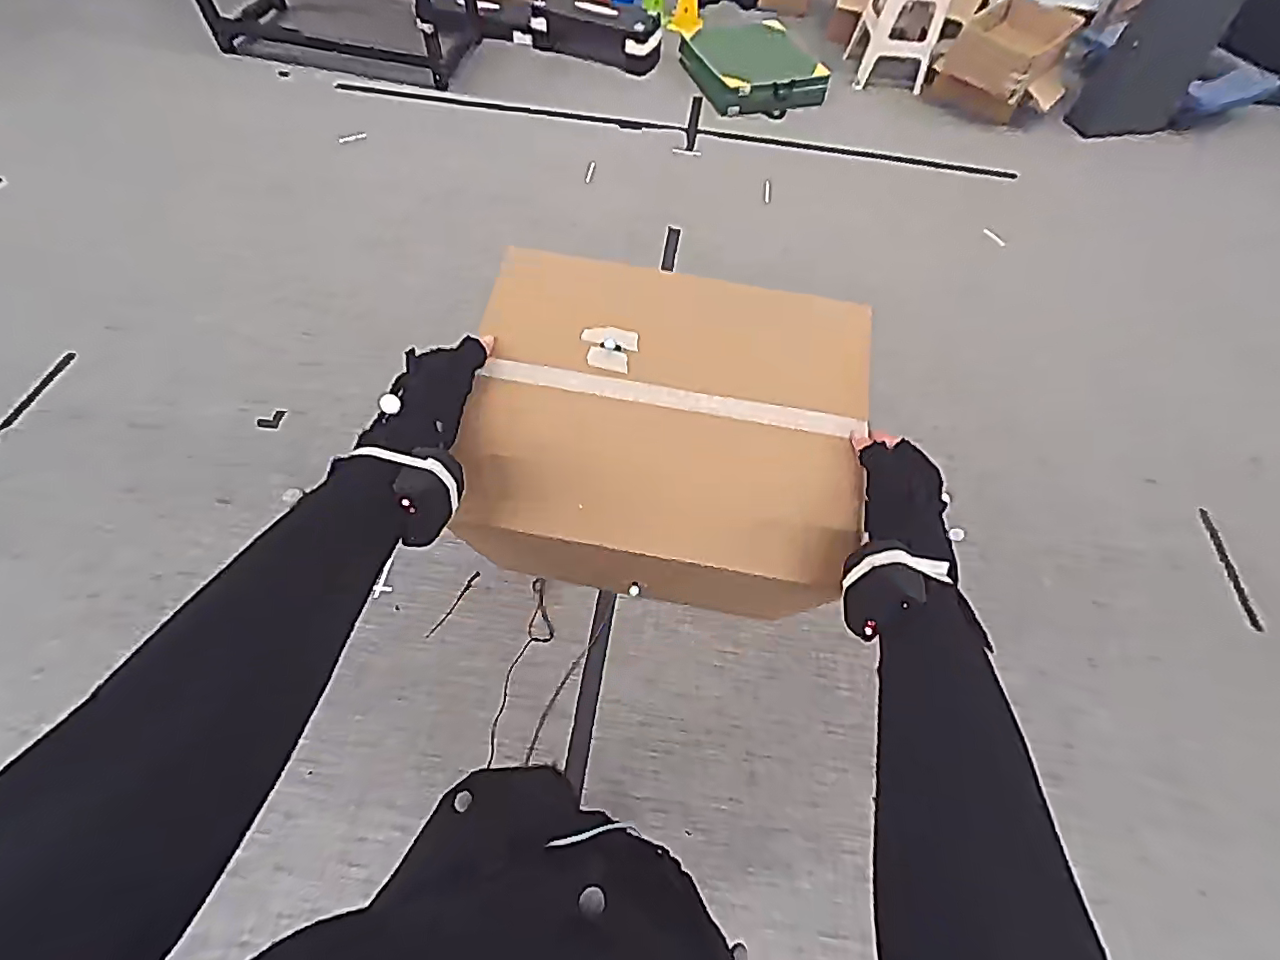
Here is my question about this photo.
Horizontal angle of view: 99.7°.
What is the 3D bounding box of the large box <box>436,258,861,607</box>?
[{"bbox_3d":[0.024,-0.032,0.694,0.408,0.320,0.320,10,70,3],"label":"large box"}]
